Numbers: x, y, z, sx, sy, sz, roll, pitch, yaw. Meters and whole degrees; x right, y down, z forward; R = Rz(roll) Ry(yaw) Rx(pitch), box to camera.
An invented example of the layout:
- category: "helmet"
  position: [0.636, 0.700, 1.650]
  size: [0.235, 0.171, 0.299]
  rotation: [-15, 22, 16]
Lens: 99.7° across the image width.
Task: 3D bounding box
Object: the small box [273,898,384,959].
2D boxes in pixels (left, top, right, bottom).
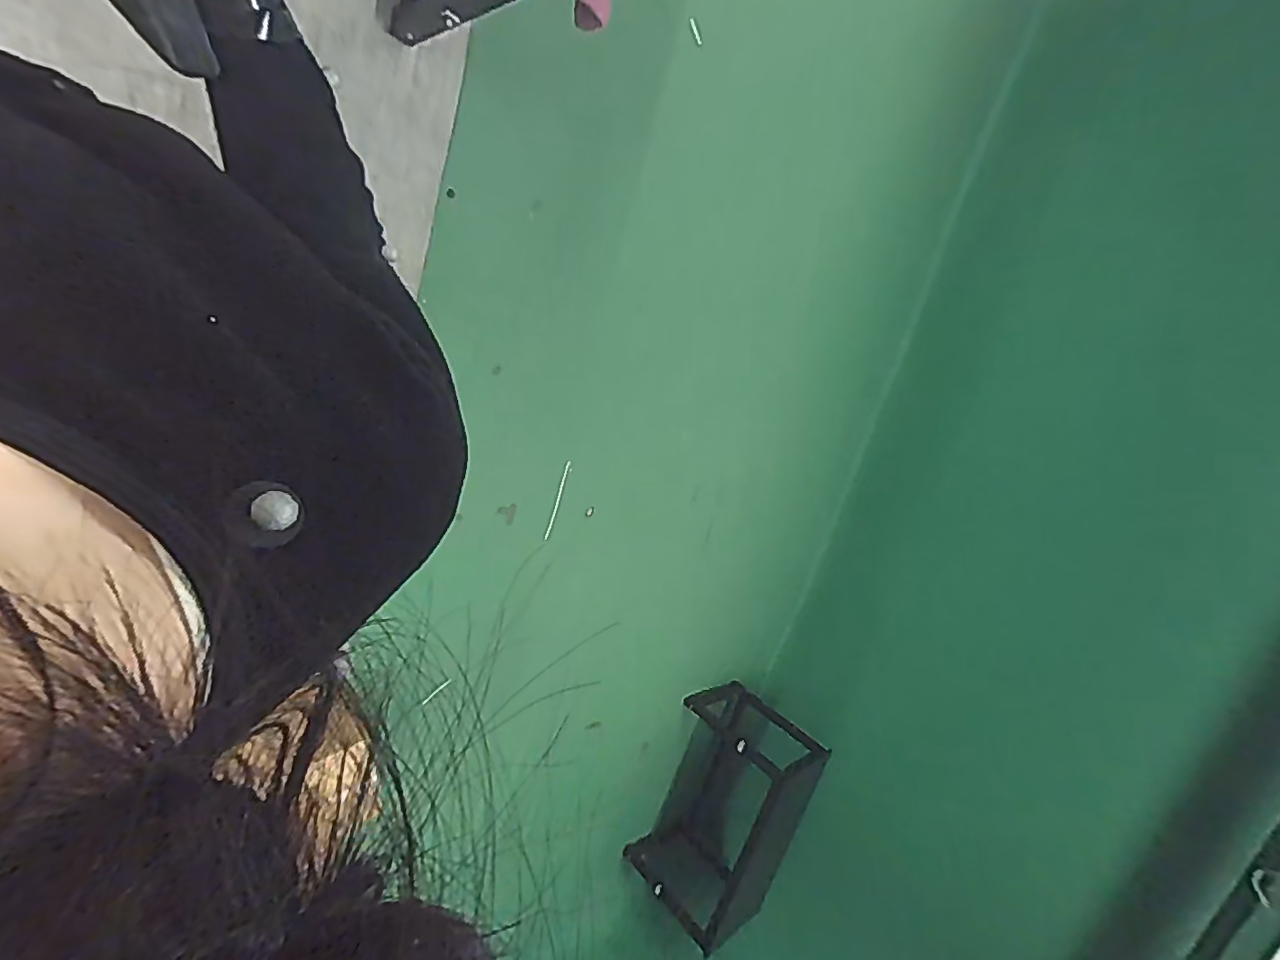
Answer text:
- category: "small box"
  position: [-0.647, 1.027, 1.124]
  size: [0.168, 0.176, 0.179]
  rotation: [-9, 115, -42]

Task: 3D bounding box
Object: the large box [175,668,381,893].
- category: "large box"
  position: [-1.001, 0.810, 1.520]
  size: [0.408, 0.320, 0.320]
  rotation: [-15, 122, -42]

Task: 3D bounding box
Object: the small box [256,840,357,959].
- category: "small box"
  position: [-0.758, 0.966, 1.229]
  size: [0.168, 0.176, 0.179]
  rotation: [-7, 115, -43]

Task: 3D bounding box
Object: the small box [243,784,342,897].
- category: "small box"
  position: [-0.859, 0.903, 1.342]
  size: [0.179, 0.176, 0.168]
  rotation: [-9, 116, -42]
